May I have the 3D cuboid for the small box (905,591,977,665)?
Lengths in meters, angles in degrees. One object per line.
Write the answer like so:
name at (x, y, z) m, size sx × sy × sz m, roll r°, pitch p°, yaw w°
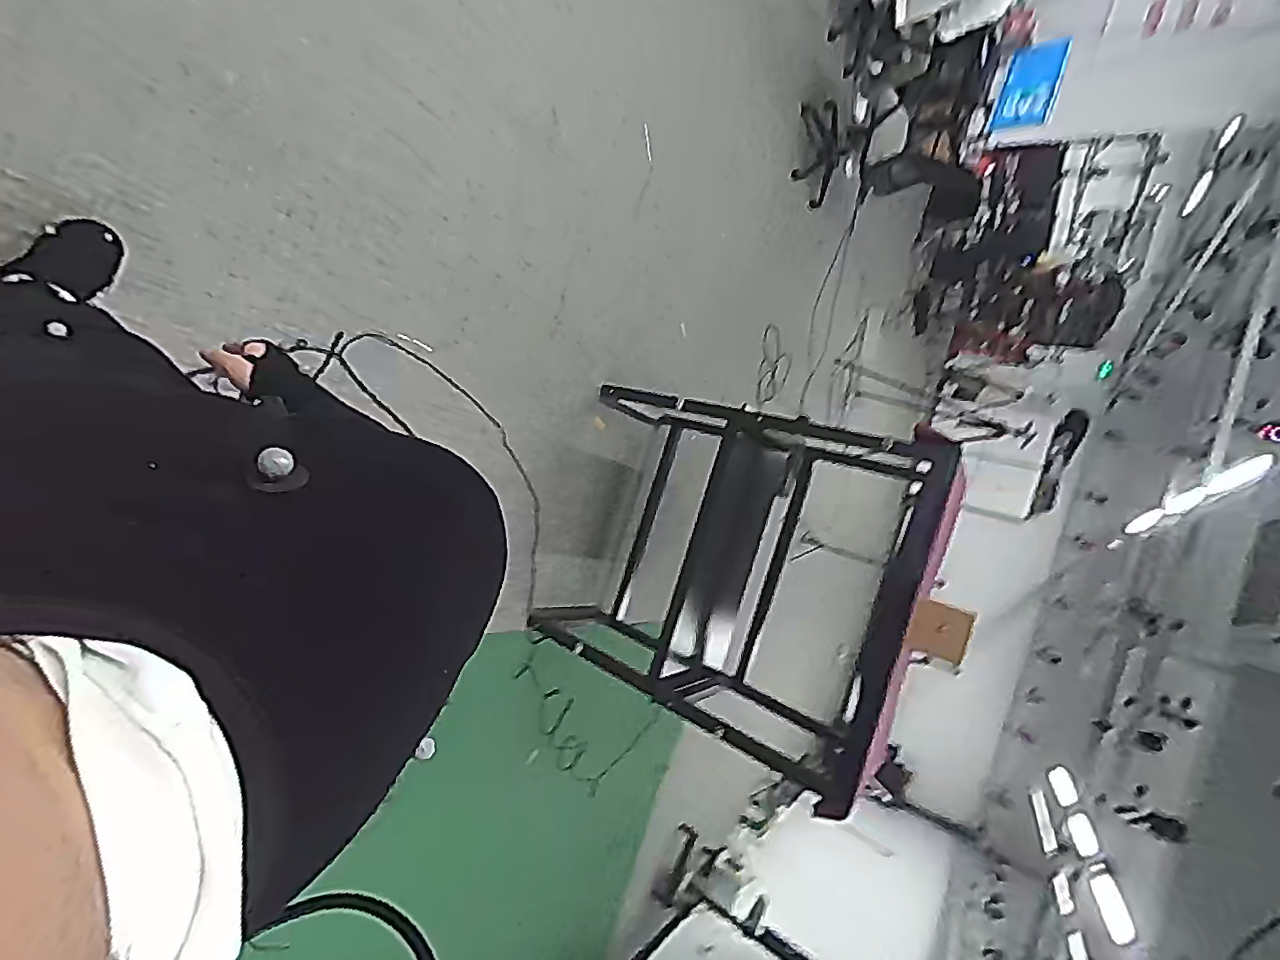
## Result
small box at (0.955, 0.471, 1.721) m, size 0.168 × 0.176 × 0.179 m, roll 26°, pitch 81°, yaw -57°
